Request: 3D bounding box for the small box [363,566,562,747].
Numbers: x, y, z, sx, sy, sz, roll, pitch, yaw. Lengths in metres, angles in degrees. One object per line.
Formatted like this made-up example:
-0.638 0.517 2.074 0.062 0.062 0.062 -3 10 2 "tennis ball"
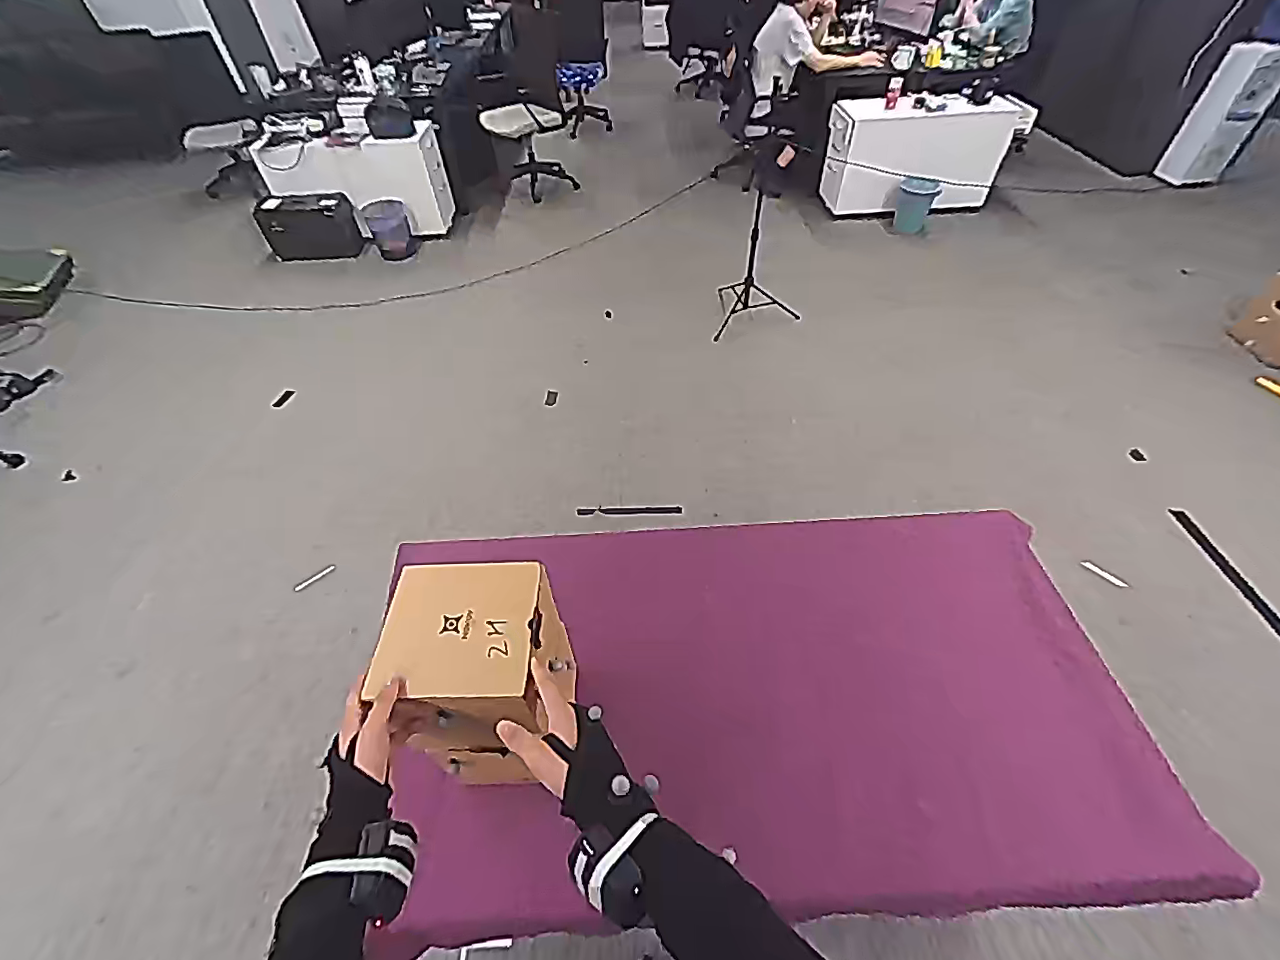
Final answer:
-0.202 0.222 0.675 0.179 0.176 0.168 0 48 1 "small box"
